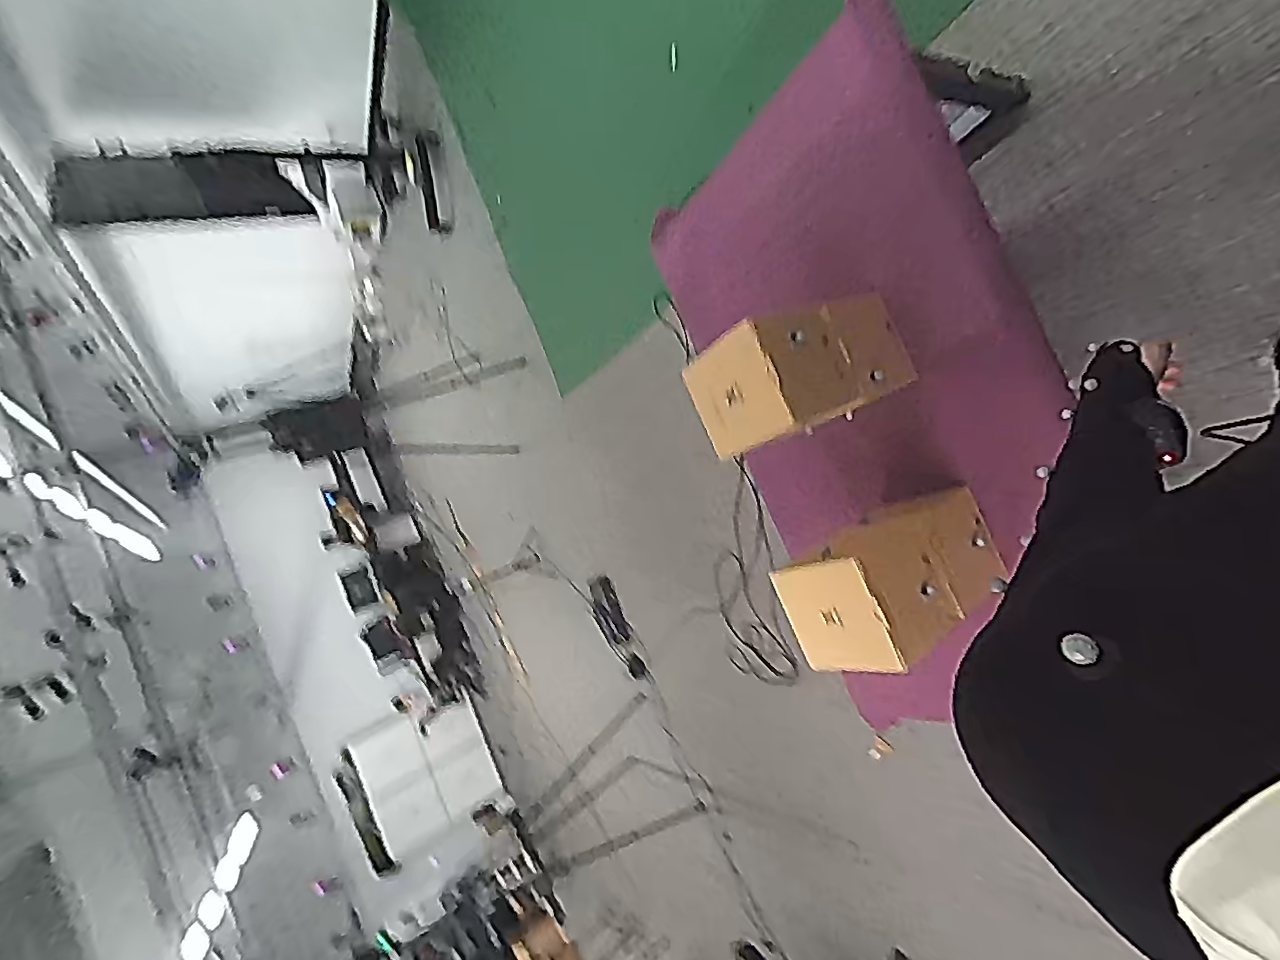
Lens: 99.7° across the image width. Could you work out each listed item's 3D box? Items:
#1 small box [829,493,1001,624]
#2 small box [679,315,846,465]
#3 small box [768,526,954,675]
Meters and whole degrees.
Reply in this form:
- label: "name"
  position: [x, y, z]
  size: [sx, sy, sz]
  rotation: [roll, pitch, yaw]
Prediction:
- label: "small box"
  position: [0.469, 0.138, 0.928]
  size: [0.179, 0.176, 0.168]
  rotation: [-28, 84, 56]
- label: "small box"
  position: [0.199, -0.144, 0.863]
  size: [0.179, 0.176, 0.168]
  rotation: [-30, 82, 57]
- label: "small box"
  position: [0.340, 0.186, 0.840]
  size: [0.179, 0.176, 0.168]
  rotation: [-31, 81, 56]
